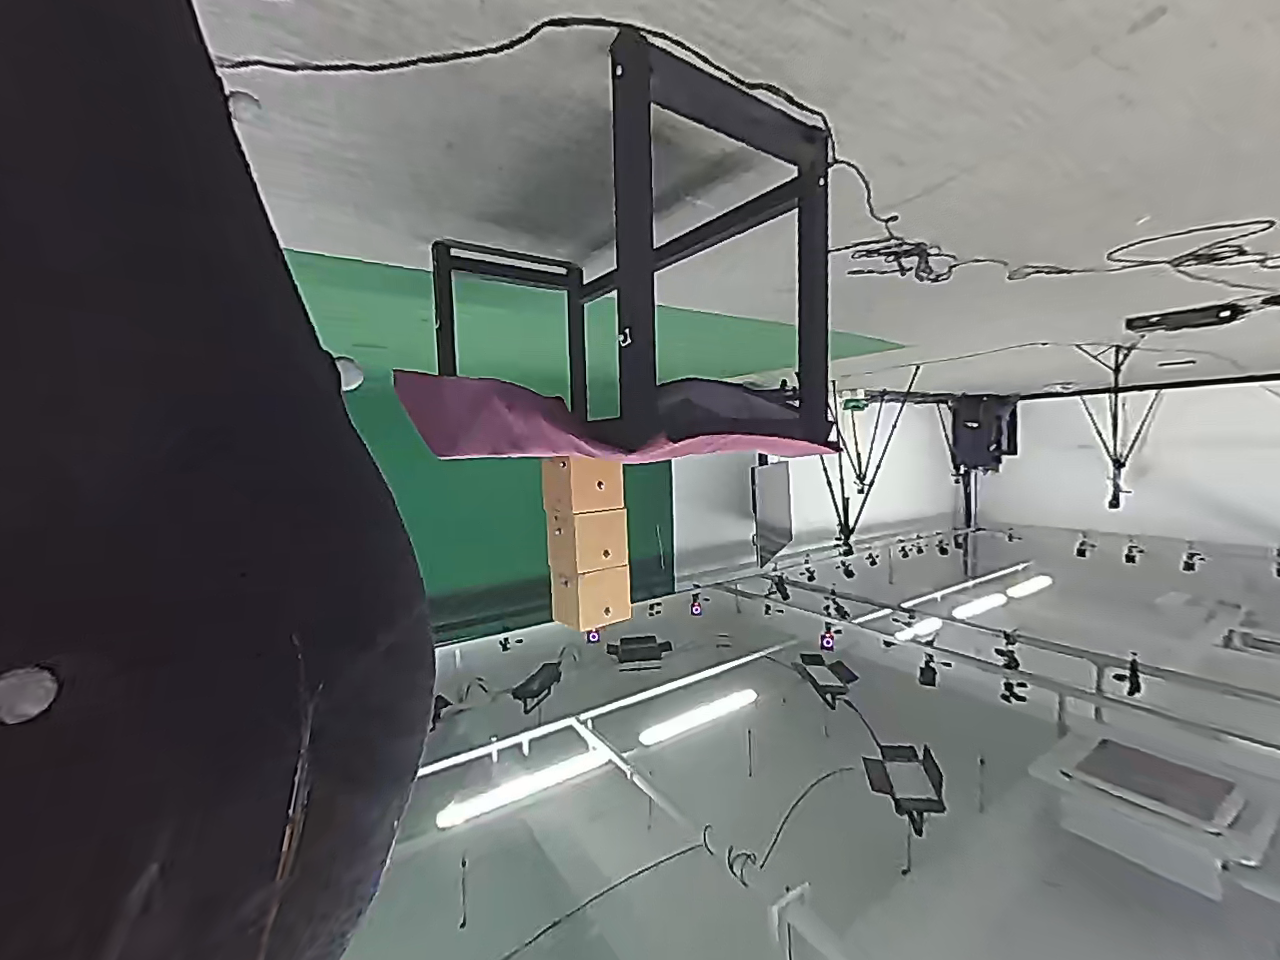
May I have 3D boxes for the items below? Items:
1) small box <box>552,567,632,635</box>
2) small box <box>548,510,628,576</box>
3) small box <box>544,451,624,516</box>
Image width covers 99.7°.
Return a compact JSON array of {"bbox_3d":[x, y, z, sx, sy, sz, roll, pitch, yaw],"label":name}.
[{"bbox_3d":[-0.142,0.333,1.585,0.179,0.176,0.168,-5,-177,-37],"label":"small box"},{"bbox_3d":[-0.152,0.170,1.572,0.179,0.176,0.168,-4,-177,-37],"label":"small box"},{"bbox_3d":[-0.167,0.007,1.560,0.179,0.176,0.168,-6,-175,-37],"label":"small box"}]
